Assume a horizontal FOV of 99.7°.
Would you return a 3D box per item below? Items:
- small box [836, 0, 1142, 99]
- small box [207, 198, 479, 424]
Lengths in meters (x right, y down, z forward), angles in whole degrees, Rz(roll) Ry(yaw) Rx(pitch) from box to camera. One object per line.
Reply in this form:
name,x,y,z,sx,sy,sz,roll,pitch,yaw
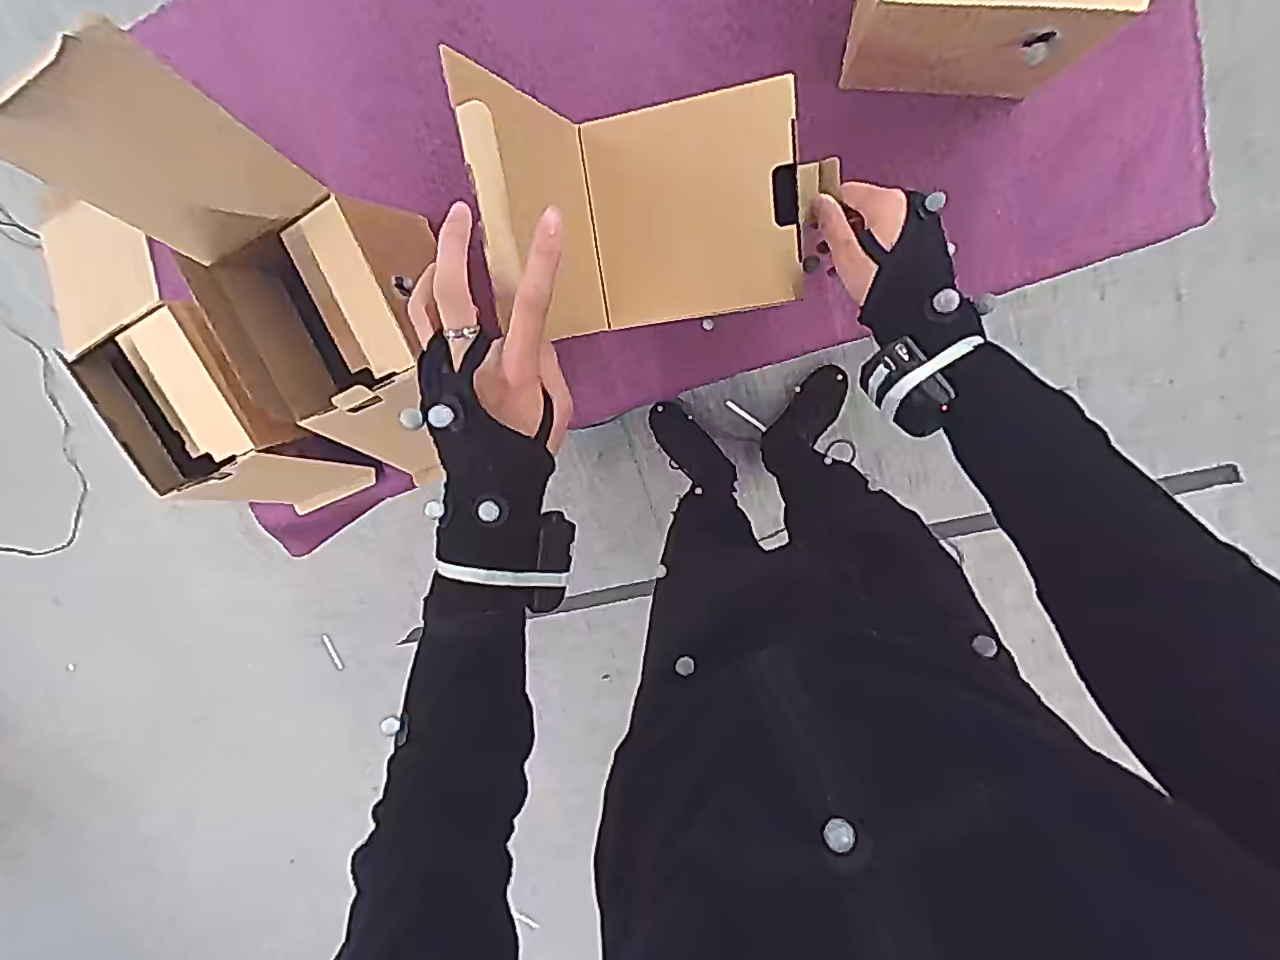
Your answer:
small box,0.269,-0.421,0.419,0.179,0.176,0.168,10,109,8
small box,-0.314,-0.185,0.612,0.168,0.176,0.179,-19,103,15
